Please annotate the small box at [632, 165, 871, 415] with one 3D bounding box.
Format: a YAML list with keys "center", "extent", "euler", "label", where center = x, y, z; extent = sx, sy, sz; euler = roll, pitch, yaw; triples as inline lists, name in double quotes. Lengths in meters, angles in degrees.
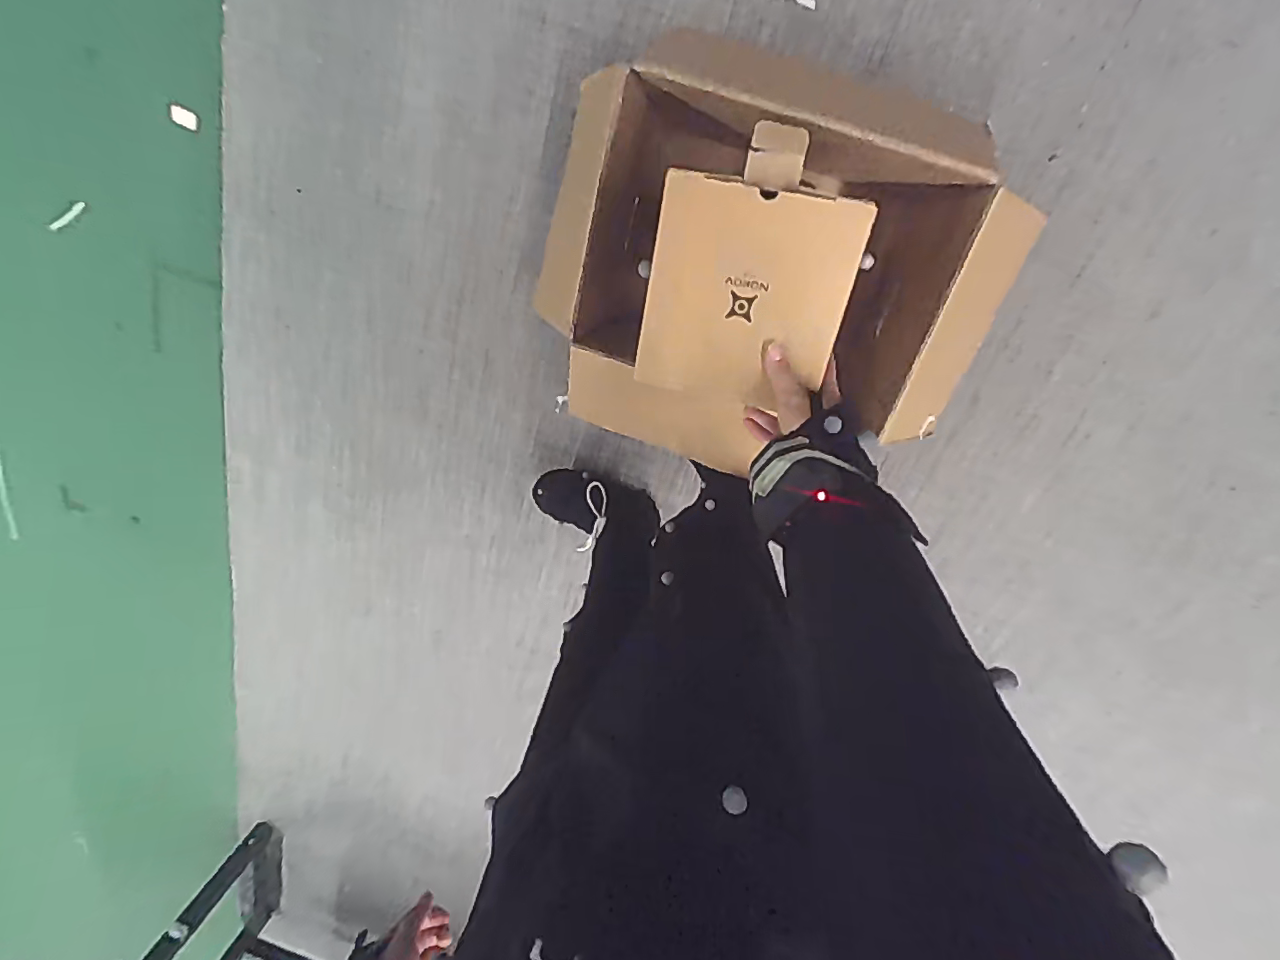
- center: [0.101, -0.182, 0.525]
  extent: [0.168, 0.176, 0.179]
  euler: [13, 113, 7]
  label: "small box"
